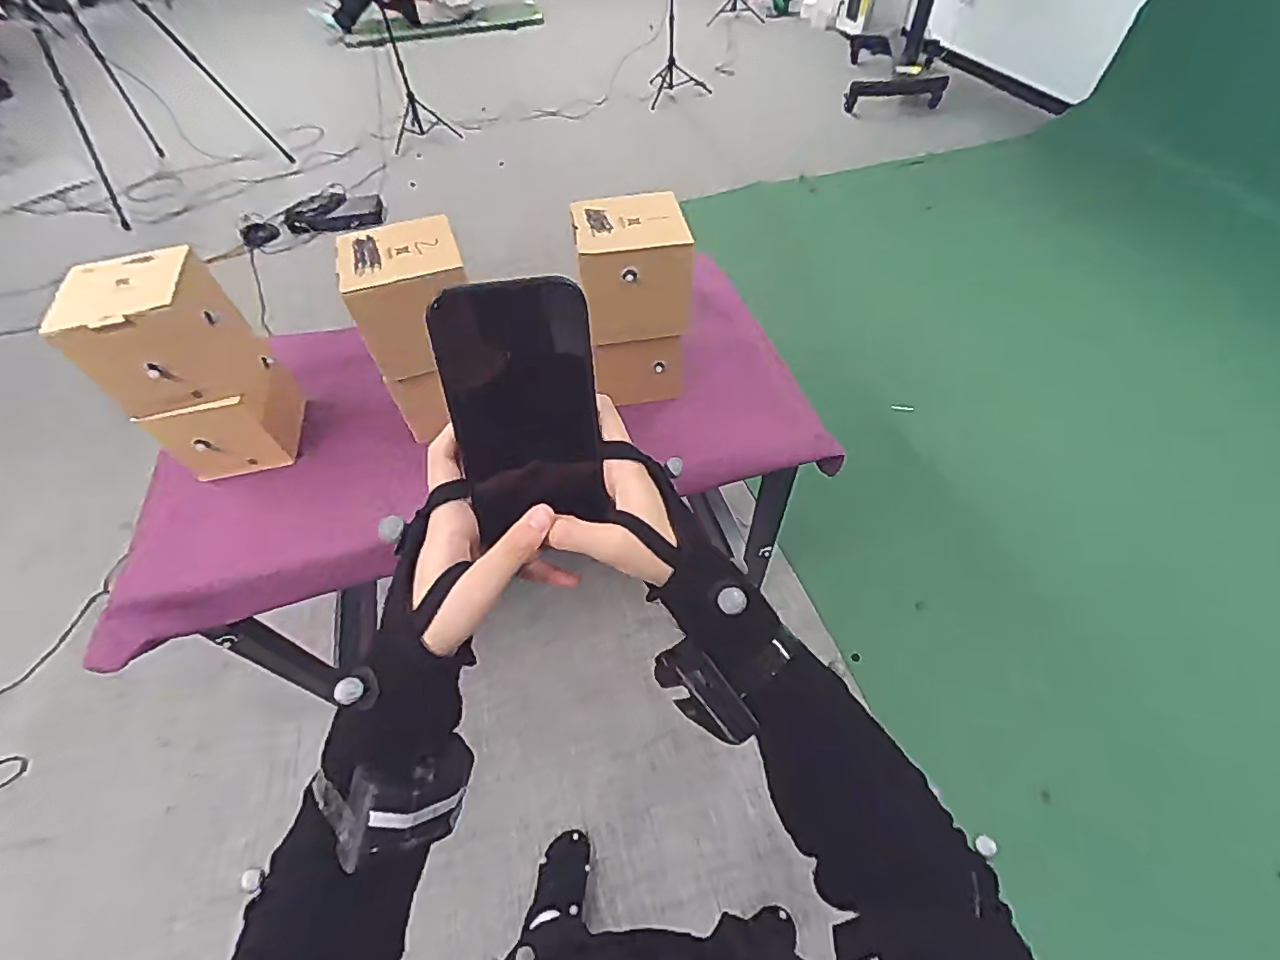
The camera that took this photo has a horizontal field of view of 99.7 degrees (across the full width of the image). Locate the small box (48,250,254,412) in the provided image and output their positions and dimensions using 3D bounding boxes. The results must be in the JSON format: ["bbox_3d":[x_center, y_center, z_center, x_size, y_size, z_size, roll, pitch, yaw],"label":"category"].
[{"bbox_3d":[-0.746,-0.227,0.852,0.168,0.176,0.179,-16,55,-10],"label":"small box"}]

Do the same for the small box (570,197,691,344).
[{"bbox_3d":[-0.015,-0.346,0.908,0.179,0.176,0.168,-8,53,-4],"label":"small box"}]

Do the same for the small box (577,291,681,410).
[{"bbox_3d":[-0.021,-0.257,1.047,0.179,0.176,0.168,-8,53,-3],"label":"small box"}]

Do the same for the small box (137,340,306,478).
[{"bbox_3d":[-0.737,-0.121,0.978,0.168,0.176,0.179,-12,53,-7],"label":"small box"}]

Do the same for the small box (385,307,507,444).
[{"bbox_3d":[-0.354,-0.193,1.012,0.179,0.176,0.168,-13,53,-7],"label":"small box"}]
